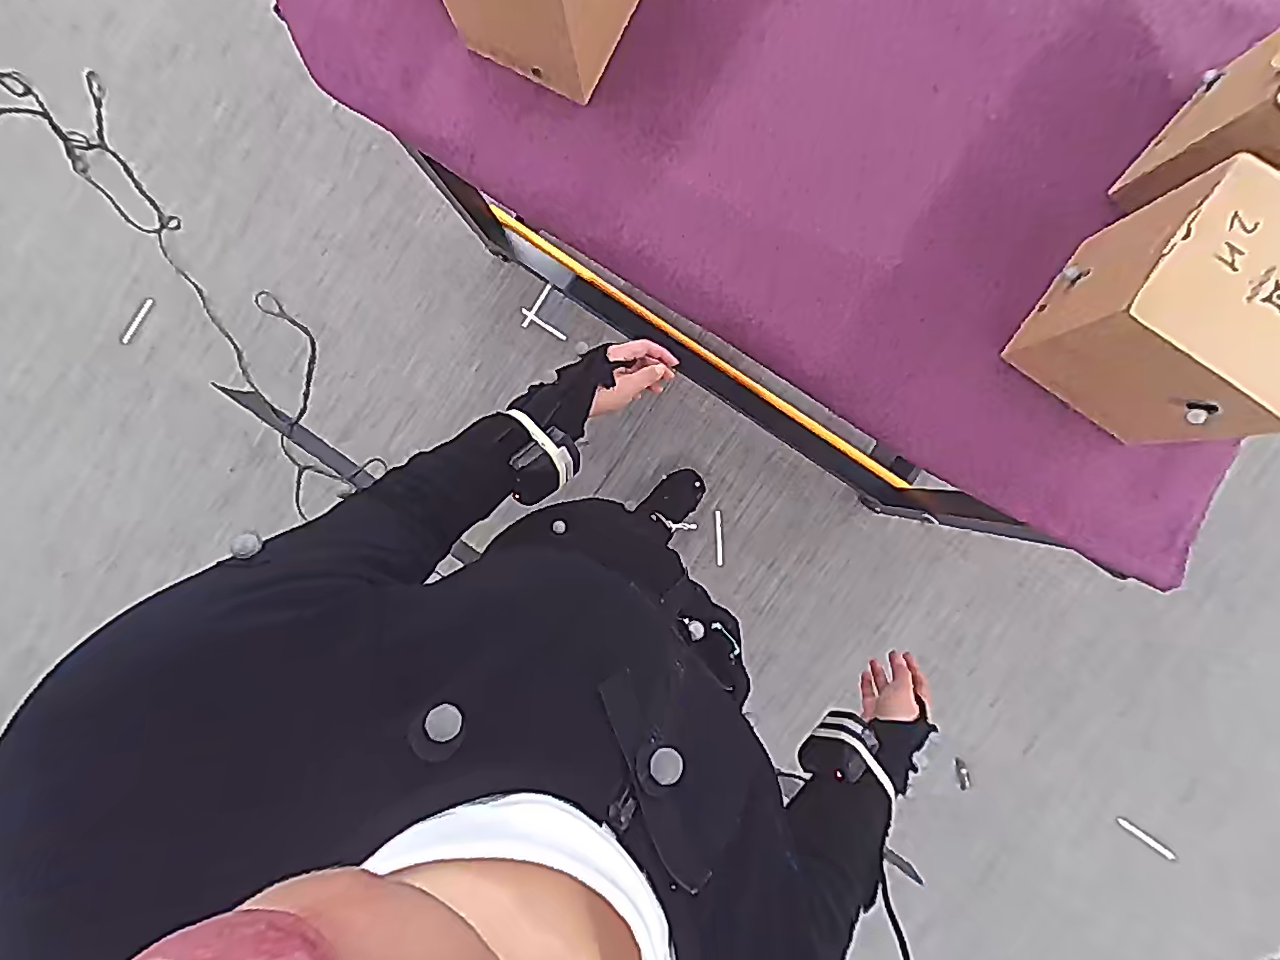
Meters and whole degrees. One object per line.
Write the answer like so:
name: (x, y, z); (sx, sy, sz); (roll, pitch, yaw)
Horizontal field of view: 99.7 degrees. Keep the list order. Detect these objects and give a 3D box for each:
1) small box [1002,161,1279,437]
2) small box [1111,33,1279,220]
small box: (0.520, -0.155, 0.533); (0.179, 0.176, 0.168); (36, 91, 2)
small box: (0.632, -0.321, 0.524); (0.179, 0.176, 0.168); (40, 94, 0)
